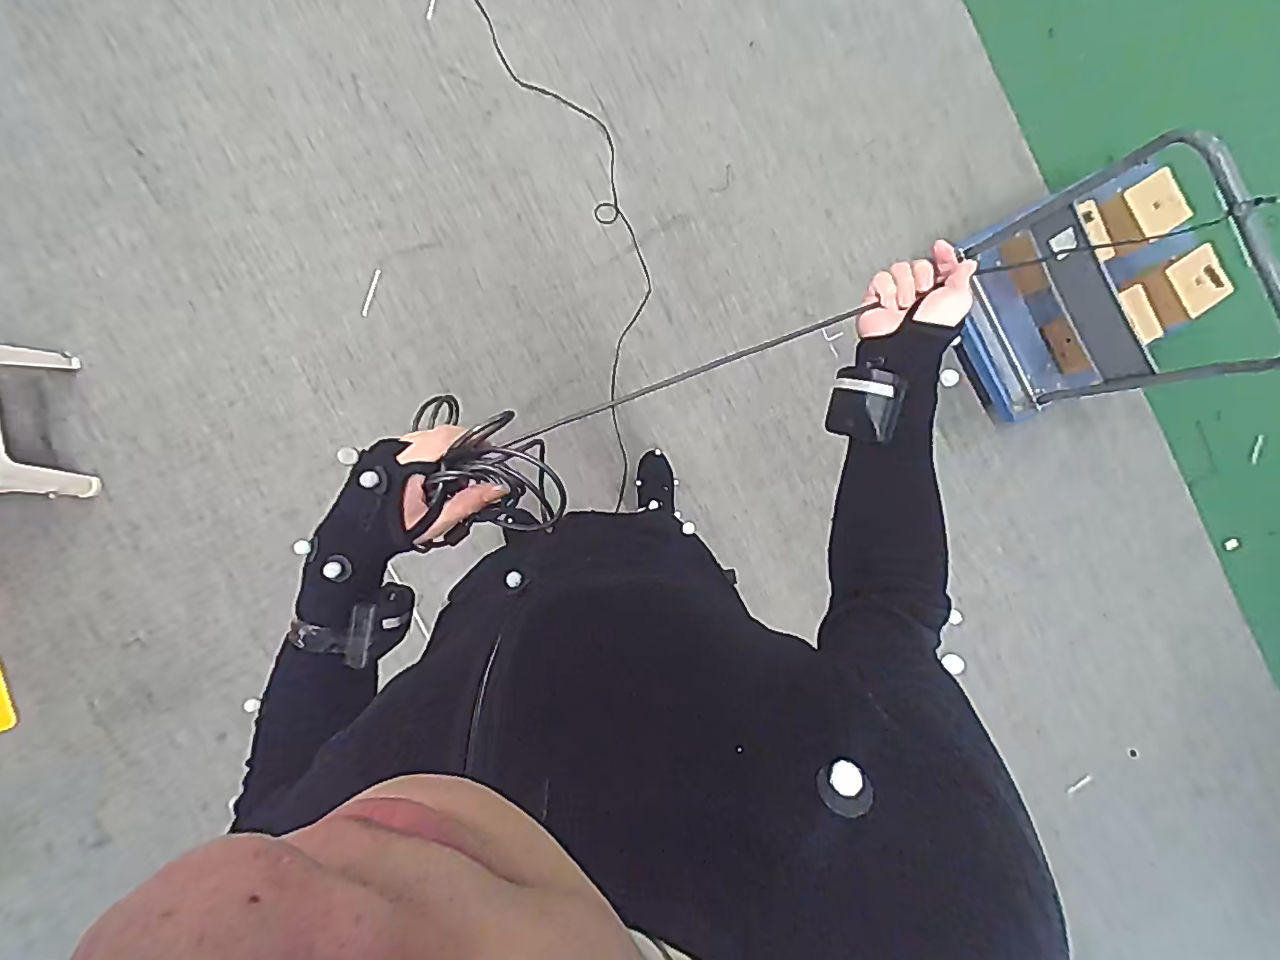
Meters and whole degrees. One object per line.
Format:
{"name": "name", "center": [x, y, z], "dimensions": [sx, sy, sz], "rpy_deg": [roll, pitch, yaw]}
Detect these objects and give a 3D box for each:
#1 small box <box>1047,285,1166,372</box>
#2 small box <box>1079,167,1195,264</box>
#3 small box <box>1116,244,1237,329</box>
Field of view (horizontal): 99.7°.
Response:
{"name": "small box", "center": [1.361, -0.437, 1.587], "dimensions": [0.179, 0.176, 0.168], "rpy_deg": [-27, 92, -7]}
{"name": "small box", "center": [1.463, -0.777, 1.610], "dimensions": [0.179, 0.176, 0.168], "rpy_deg": [-32, 93, -7]}
{"name": "small box", "center": [1.597, -0.564, 1.620], "dimensions": [0.179, 0.176, 0.168], "rpy_deg": [-32, 92, -6]}
